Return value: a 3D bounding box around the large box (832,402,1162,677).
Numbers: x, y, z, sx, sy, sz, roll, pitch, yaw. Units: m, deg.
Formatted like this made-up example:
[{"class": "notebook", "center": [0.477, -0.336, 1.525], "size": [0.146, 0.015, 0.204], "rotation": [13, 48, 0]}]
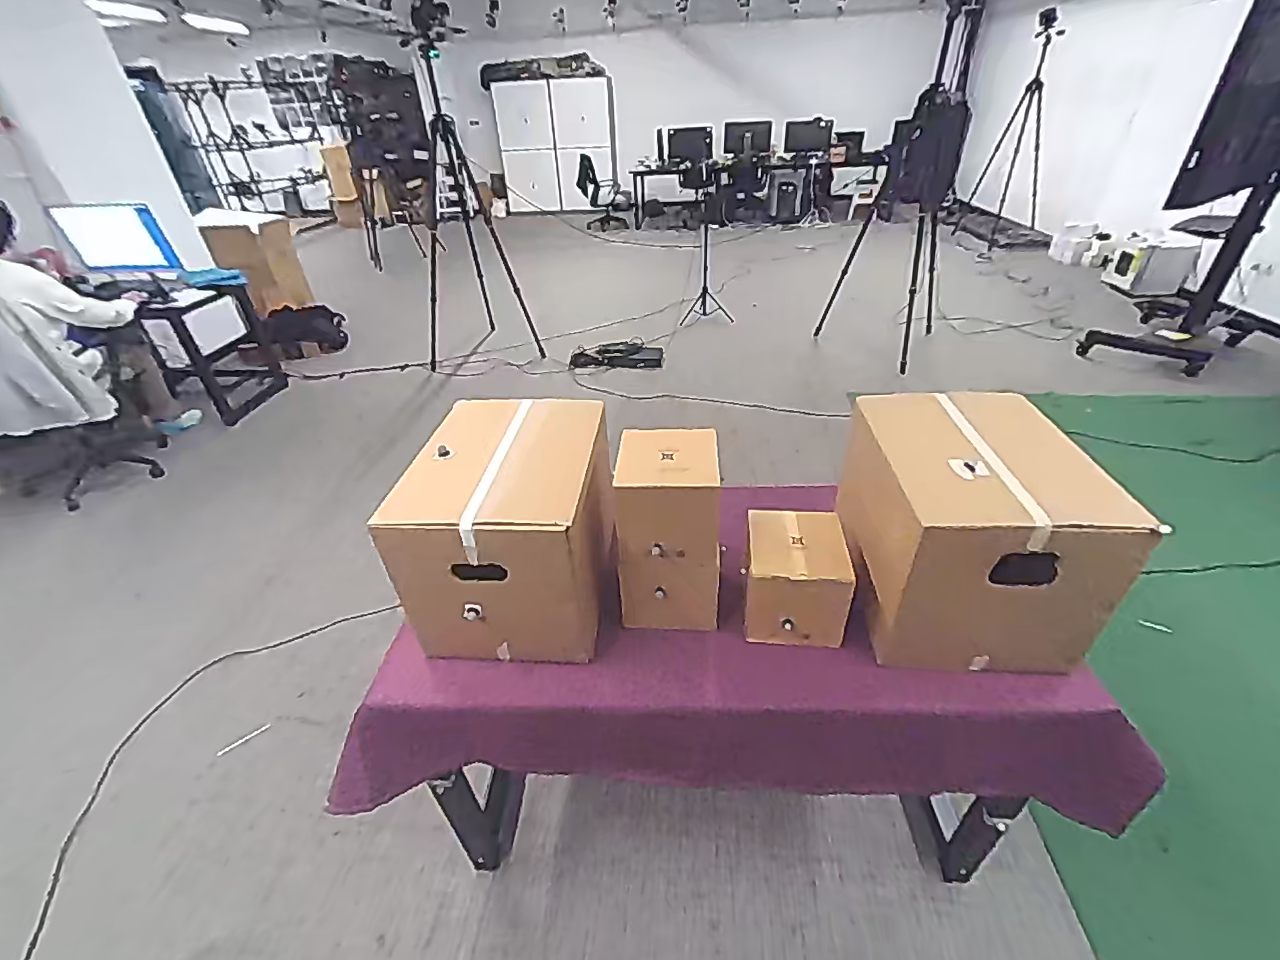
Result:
[{"class": "large box", "center": [0.571, 0.088, 0.984], "size": [0.320, 0.320, 0.408], "rotation": [1, 36, 6]}]
